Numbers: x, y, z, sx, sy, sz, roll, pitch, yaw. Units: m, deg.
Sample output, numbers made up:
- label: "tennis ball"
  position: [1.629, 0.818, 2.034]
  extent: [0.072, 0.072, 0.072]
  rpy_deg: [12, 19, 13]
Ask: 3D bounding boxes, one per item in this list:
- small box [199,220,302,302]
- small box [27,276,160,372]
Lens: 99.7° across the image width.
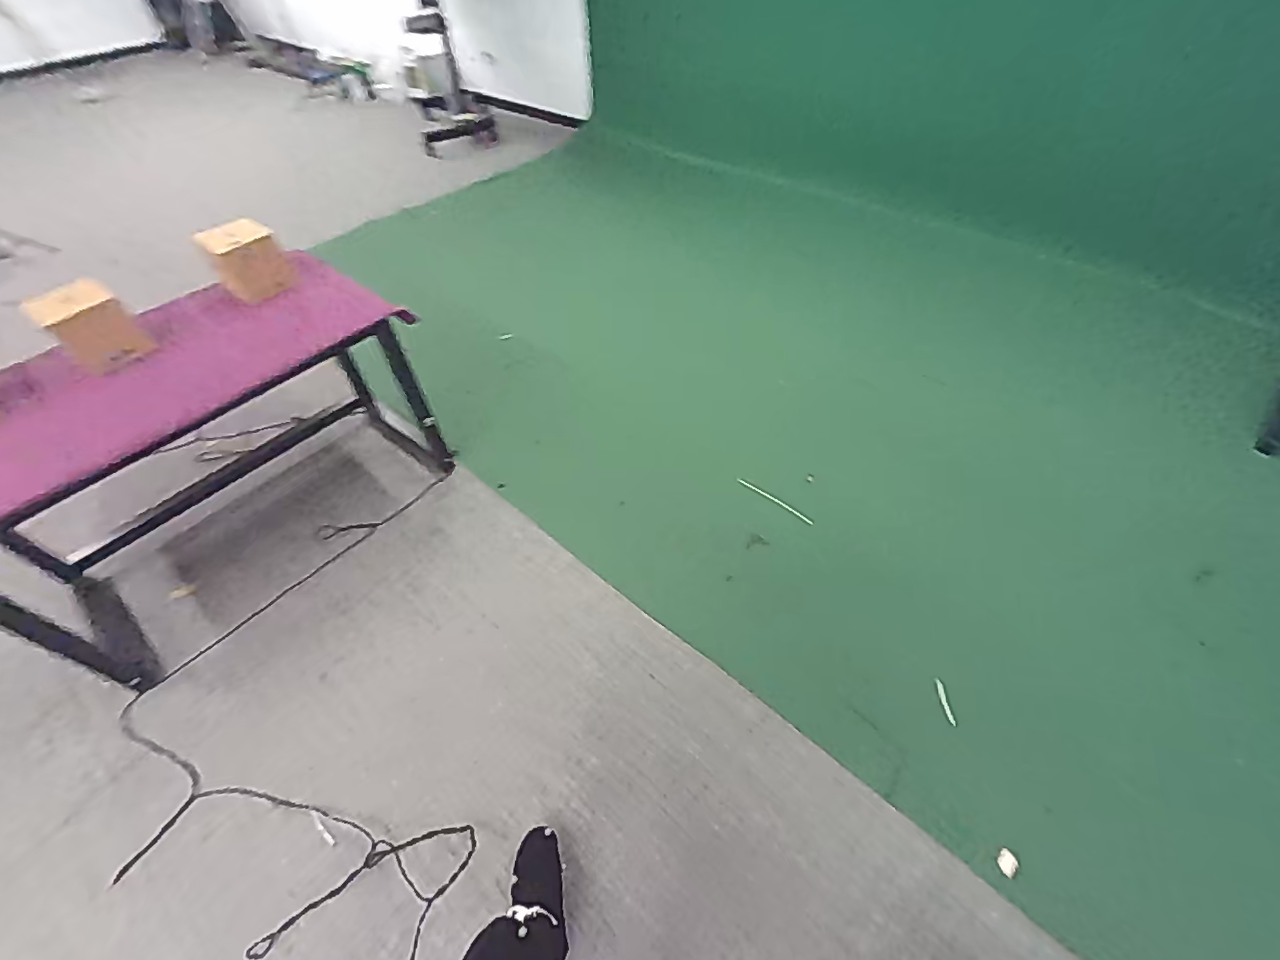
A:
- label: "small box"
  position: [-1.204, -0.678, 1.680]
  extent: [0.179, 0.176, 0.168]
  rpy_deg: [31, 58, 26]
- label: "small box"
  position: [-1.475, -0.420, 1.469]
  extent: [0.179, 0.176, 0.168]
  rpy_deg: [30, 57, 24]
